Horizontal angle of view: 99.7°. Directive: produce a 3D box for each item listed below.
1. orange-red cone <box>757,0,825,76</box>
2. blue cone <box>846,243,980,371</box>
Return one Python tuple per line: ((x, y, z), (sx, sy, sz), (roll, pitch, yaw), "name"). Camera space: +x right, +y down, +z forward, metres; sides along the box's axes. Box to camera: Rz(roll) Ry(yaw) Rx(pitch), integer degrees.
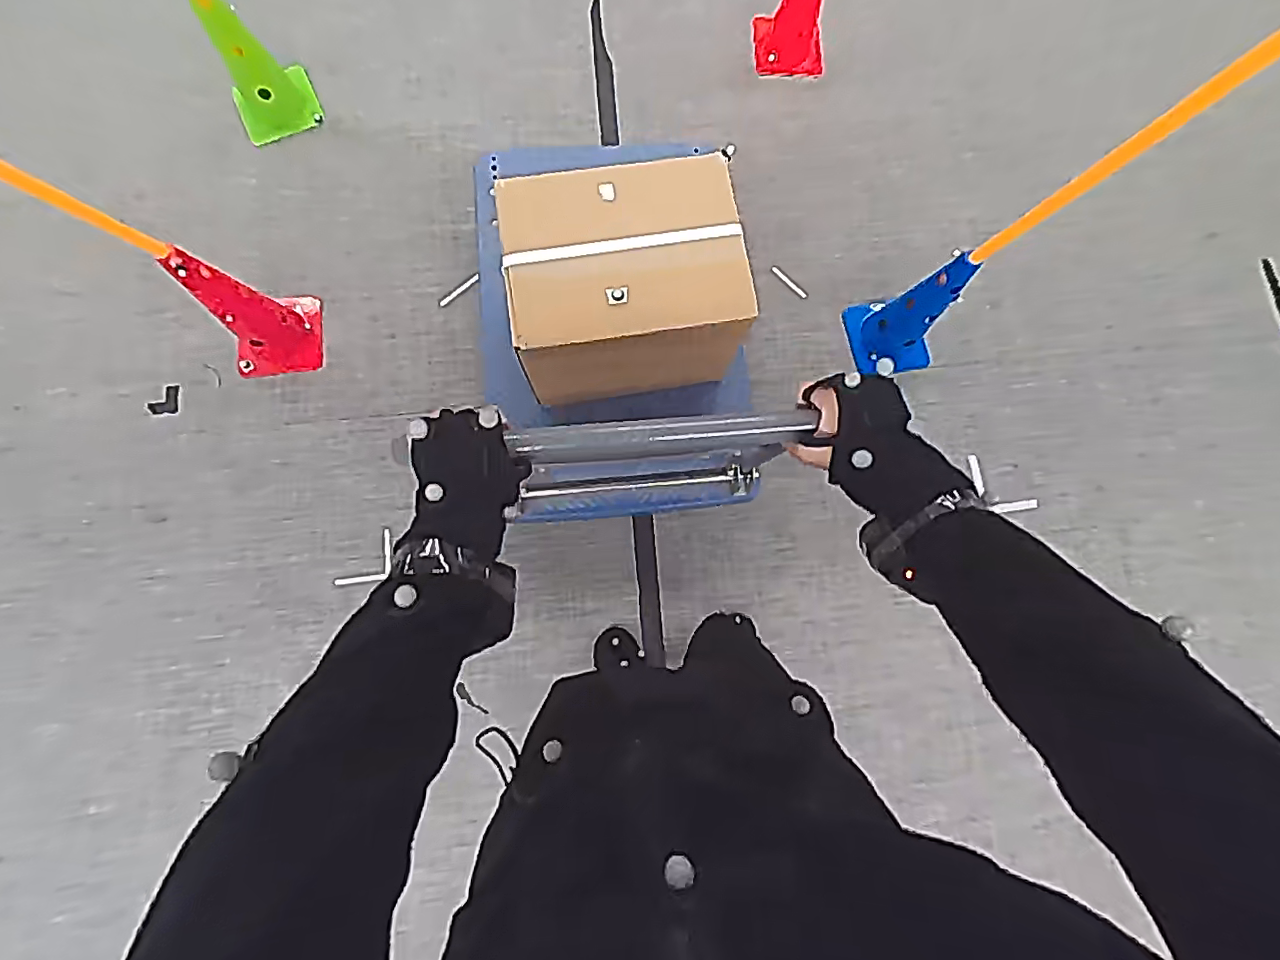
((0.447, -1.289, 1.397), (0.199, 0.360, 0.198), (2, 80, -4), "orange-red cone")
((0.660, -0.413, 1.263), (0.193, 0.380, 0.192), (-9, 79, -5), "blue cone")
